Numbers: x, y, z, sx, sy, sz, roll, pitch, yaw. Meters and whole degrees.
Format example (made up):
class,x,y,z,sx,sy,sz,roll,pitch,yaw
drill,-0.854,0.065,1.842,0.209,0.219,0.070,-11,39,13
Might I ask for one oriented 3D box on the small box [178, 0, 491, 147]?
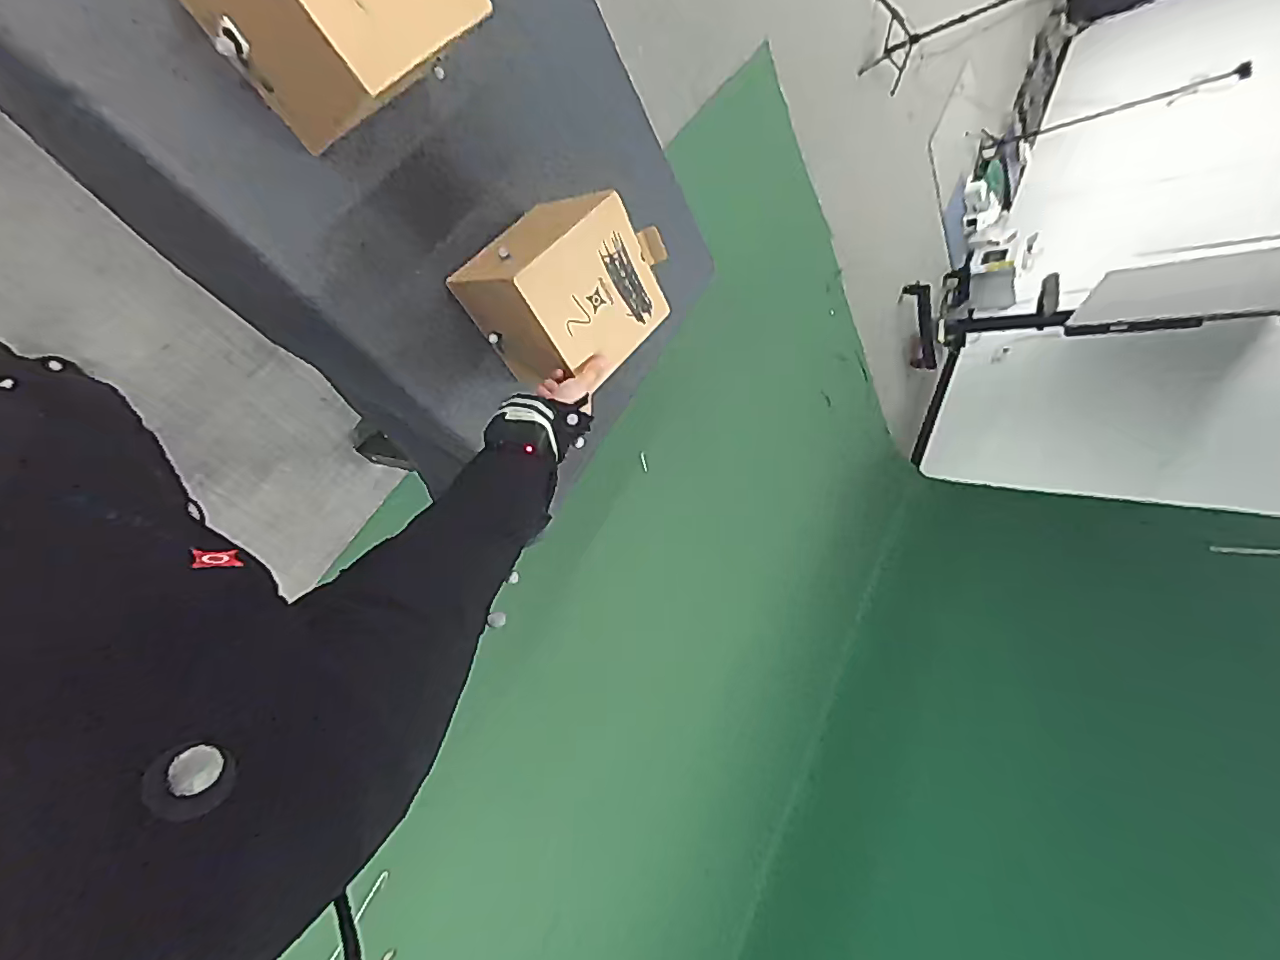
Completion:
class,x,y,z,sx,sy,sz,roll,pitch,yaw
small box,-0.280,-0.448,0.492,0.168,0.176,0.179,50,61,-38
